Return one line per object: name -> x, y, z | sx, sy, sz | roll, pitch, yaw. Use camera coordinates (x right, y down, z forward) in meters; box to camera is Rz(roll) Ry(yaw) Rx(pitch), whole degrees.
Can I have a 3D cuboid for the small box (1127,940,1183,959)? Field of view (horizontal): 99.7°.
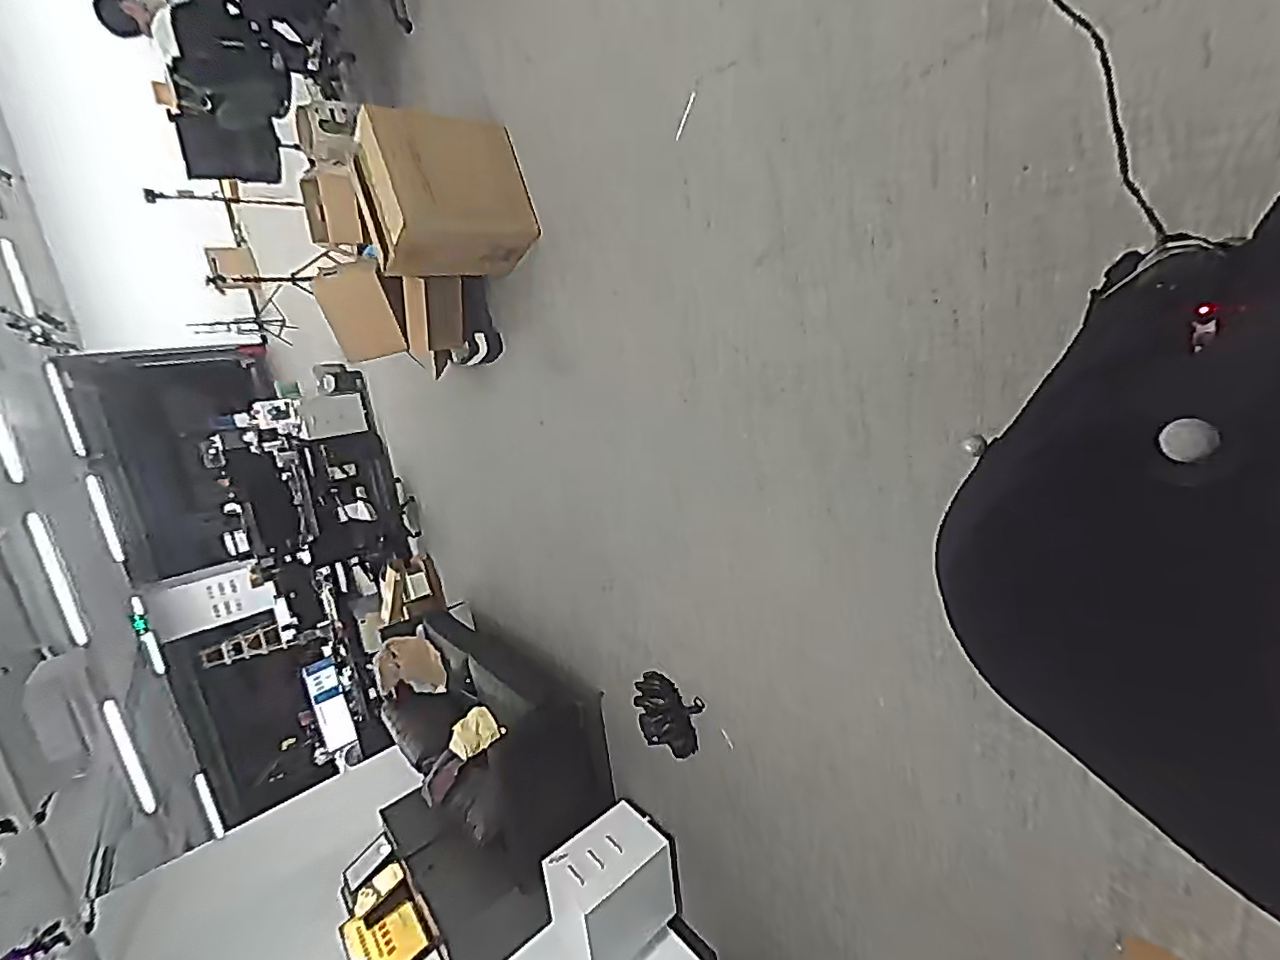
small box -> 1.217, 1.218, 1.239 | 0.179, 0.176, 0.168 | 17, 119, 48
